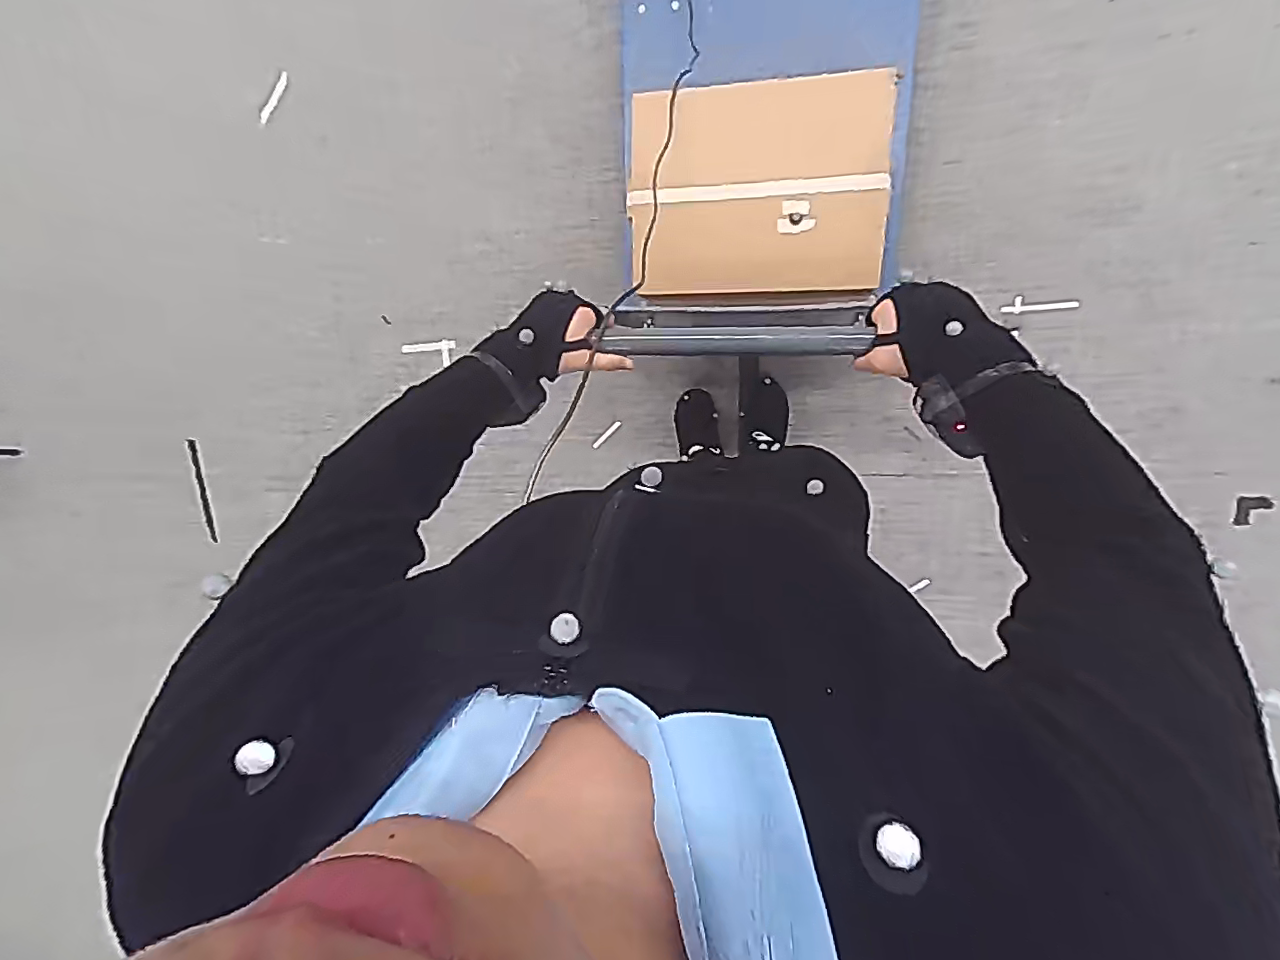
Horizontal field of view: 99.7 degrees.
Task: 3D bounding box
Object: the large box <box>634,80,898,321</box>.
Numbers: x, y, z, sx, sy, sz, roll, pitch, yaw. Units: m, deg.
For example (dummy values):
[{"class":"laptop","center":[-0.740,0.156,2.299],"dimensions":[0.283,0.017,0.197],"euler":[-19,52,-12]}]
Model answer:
[{"class":"large box","center":[0.213,-0.472,1.003],"dimensions":[0.408,0.320,0.320],"euler":[2,103,11]}]
